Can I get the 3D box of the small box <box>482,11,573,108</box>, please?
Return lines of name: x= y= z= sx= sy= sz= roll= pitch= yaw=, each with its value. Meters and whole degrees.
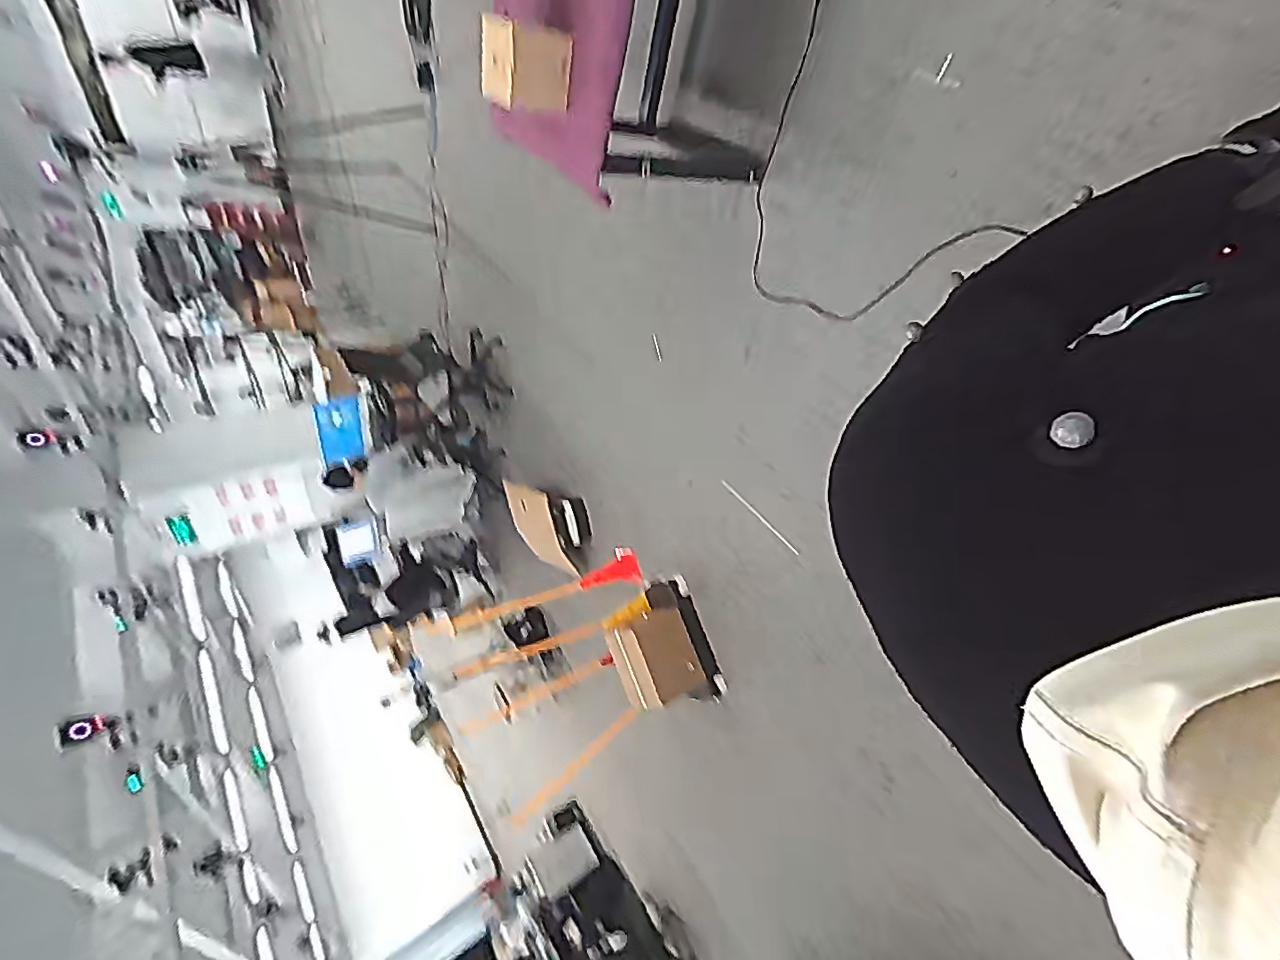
small box: x=-0.297 y=-1.093 z=1.413 sx=0.179 sy=0.176 sz=0.168 roll=46 pitch=139 yaw=33
